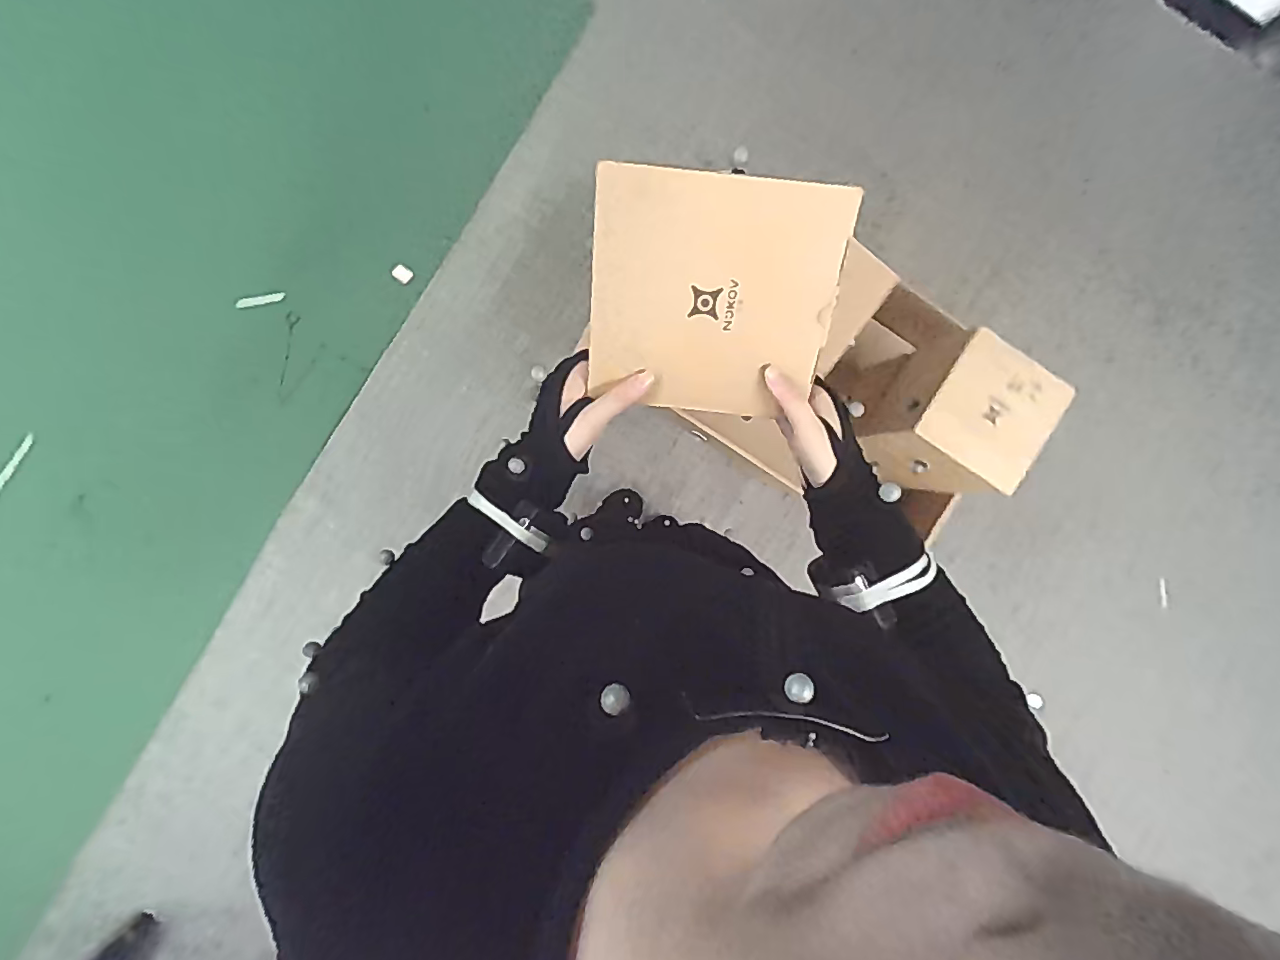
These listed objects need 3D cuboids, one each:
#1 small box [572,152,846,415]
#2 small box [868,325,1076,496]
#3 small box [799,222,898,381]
[{"bbox_3d":[0.043,-0.169,0.455,0.179,0.176,0.168,5,120,-1],"label":"small box"},{"bbox_3d":[0.472,-0.095,0.805,0.168,0.176,0.179,34,89,-4],"label":"small box"},{"bbox_3d":[0.224,-0.255,0.790,0.168,0.176,0.179,38,88,-5],"label":"small box"}]
